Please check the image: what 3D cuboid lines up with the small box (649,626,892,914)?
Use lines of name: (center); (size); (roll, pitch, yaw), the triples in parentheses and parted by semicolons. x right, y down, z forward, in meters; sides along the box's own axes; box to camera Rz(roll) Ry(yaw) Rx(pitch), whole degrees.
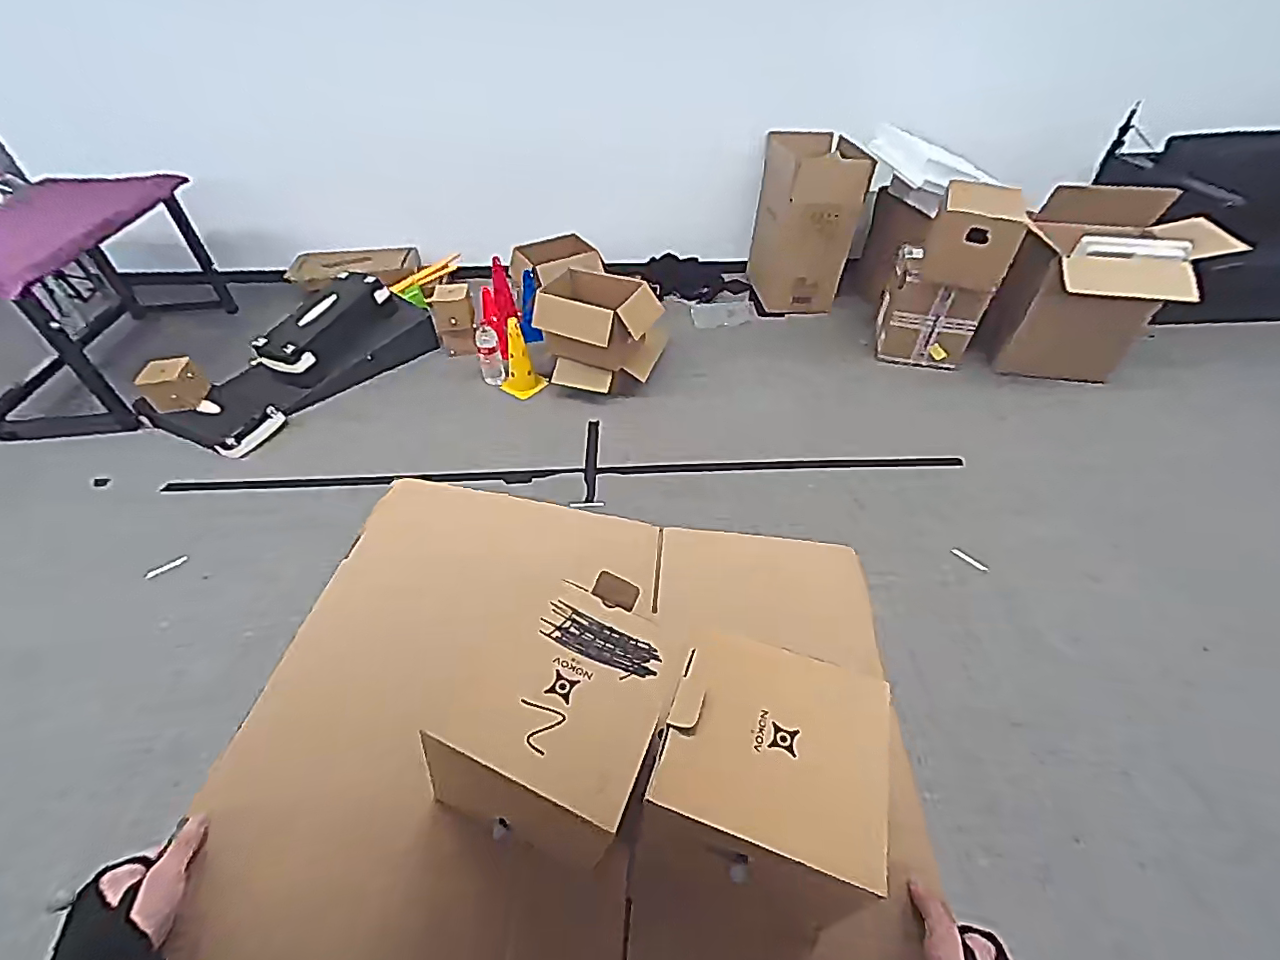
small box: (0.116, 0.272, 0.507); (0.179, 0.176, 0.168); (14, 45, 13)
